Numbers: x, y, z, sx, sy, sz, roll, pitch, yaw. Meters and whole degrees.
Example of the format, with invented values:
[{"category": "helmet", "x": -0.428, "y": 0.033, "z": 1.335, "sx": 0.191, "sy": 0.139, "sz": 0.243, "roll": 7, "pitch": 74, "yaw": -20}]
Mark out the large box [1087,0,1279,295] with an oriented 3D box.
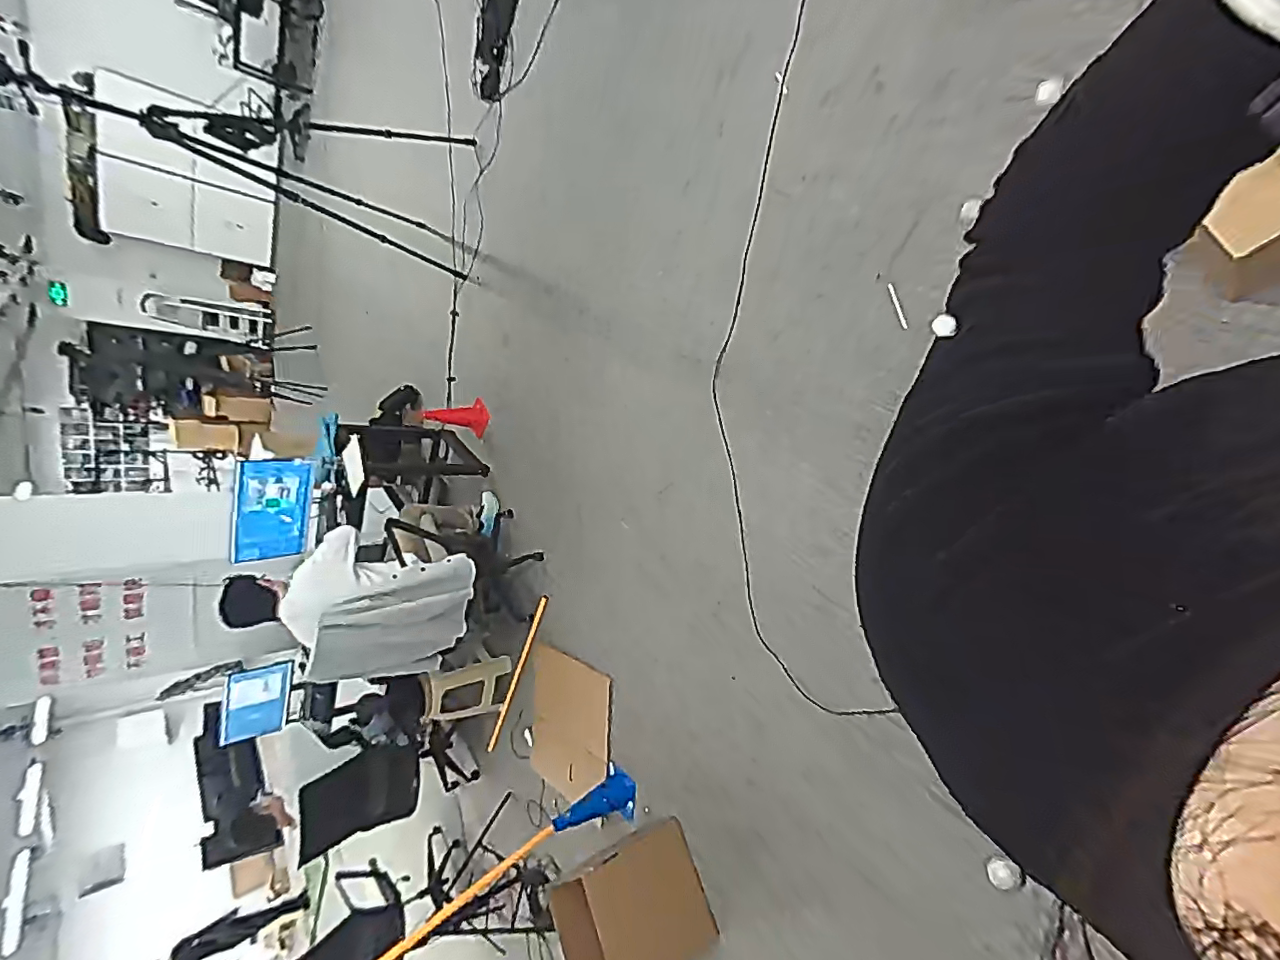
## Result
[{"category": "large box", "x": 1.065, "y": -0.590, "z": 0.905, "sx": 0.320, "sy": 0.320, "sz": 0.408, "roll": -36, "pitch": 65, "yaw": 41}]
